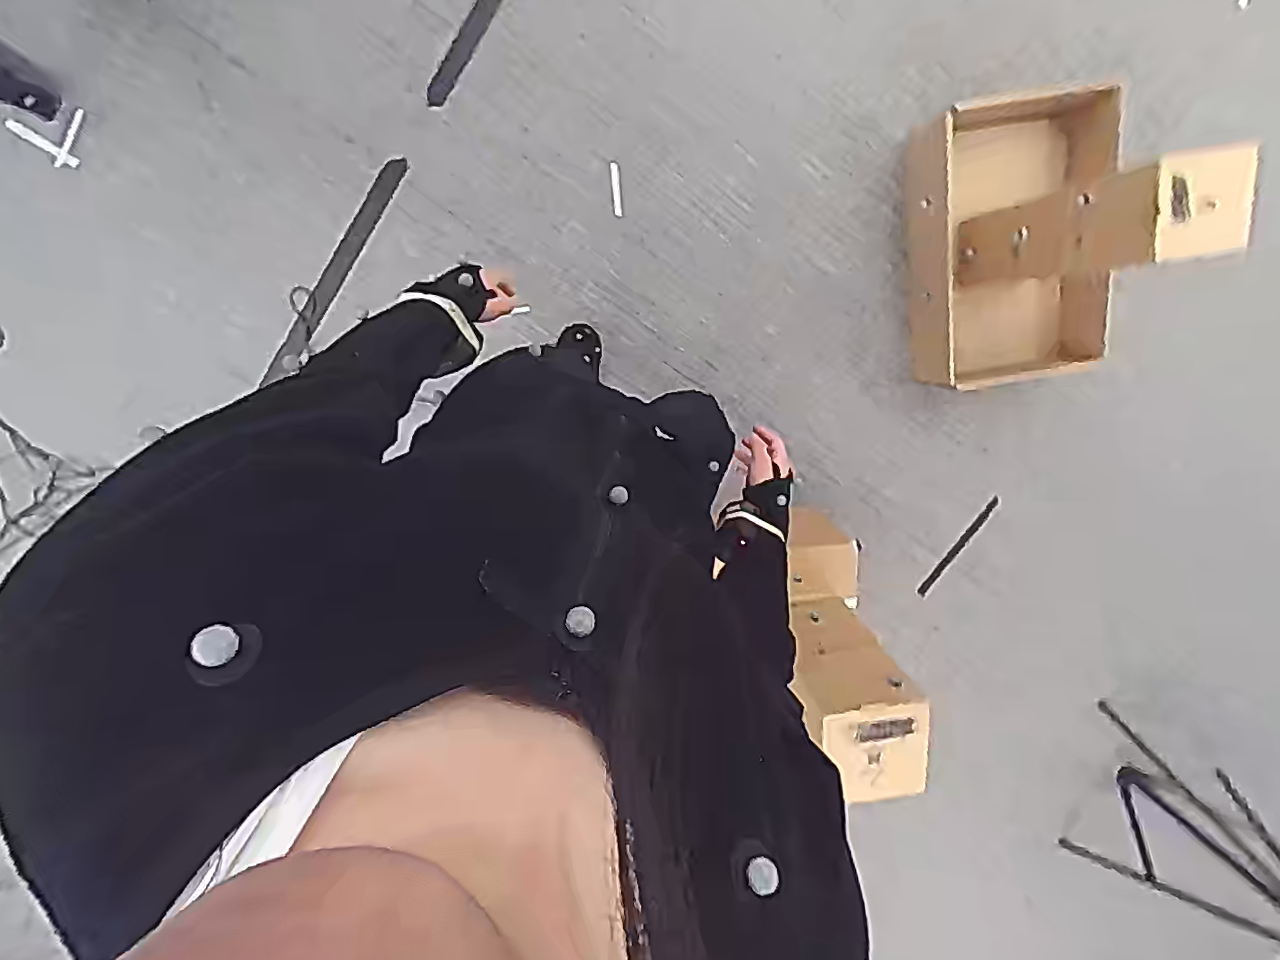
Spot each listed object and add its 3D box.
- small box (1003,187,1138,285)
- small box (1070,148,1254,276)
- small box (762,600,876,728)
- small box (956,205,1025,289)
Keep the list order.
[{"bbox_3d":[0.914,-0.515,1.143,0.179,0.176,0.168,-8,104,-2],"label":"small box"},{"bbox_3d":[0.932,-0.476,0.984,0.179,0.176,0.168,-9,105,-4],"label":"small box"},{"bbox_3d":[0.340,0.348,1.057,0.168,0.176,0.179,-5,105,-2],"label":"small box"},{"bbox_3d":[0.900,-0.557,1.299,0.179,0.176,0.168,-7,105,-3],"label":"small box"}]
